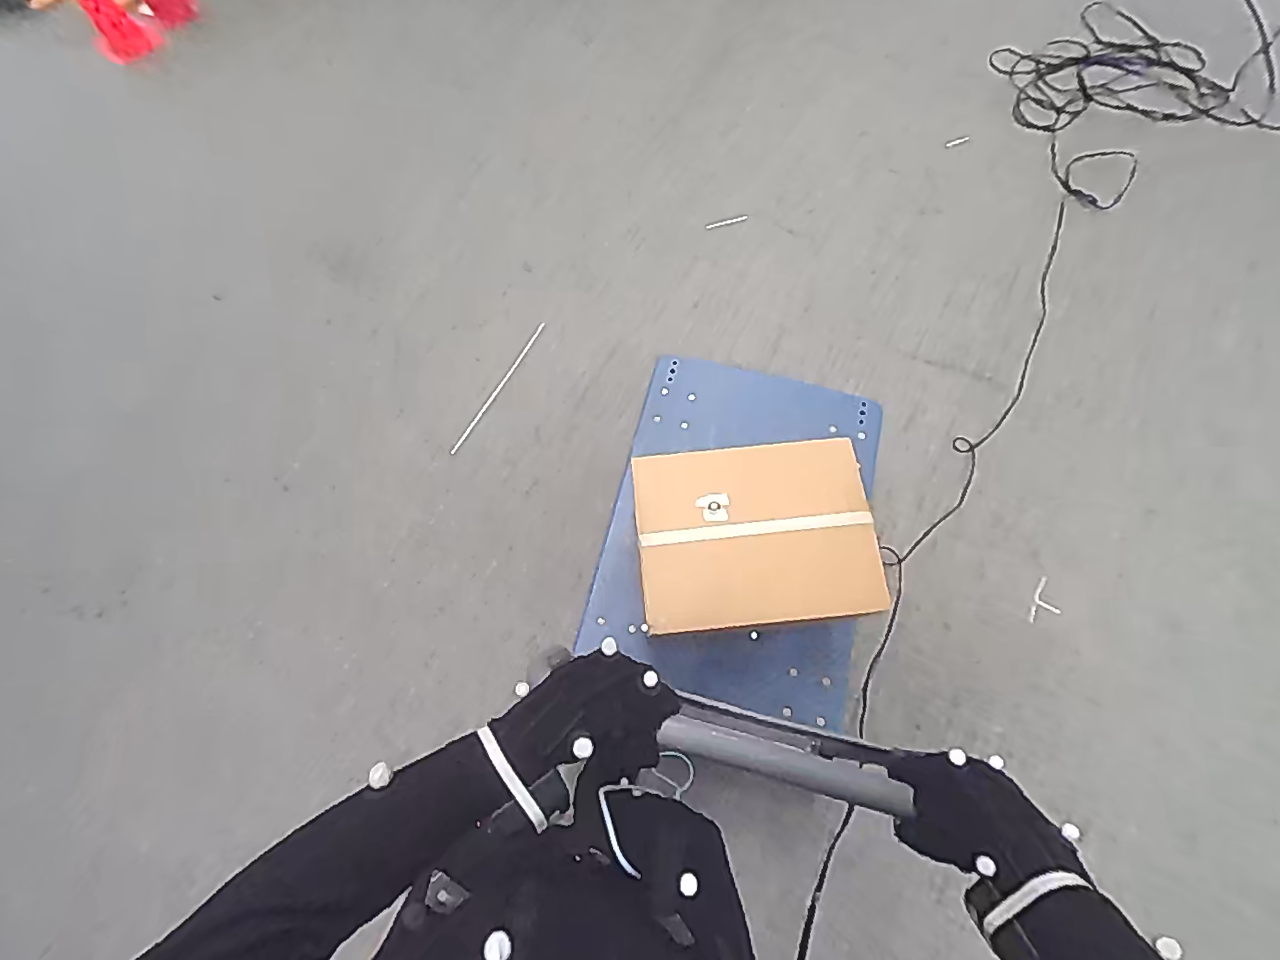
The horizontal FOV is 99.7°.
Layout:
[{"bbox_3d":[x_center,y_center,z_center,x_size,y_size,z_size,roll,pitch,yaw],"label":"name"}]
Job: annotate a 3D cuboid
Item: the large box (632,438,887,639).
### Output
[{"bbox_3d":[0.205,0.135,1.084,0.408,0.320,0.320,-6,70,0],"label":"large box"}]
